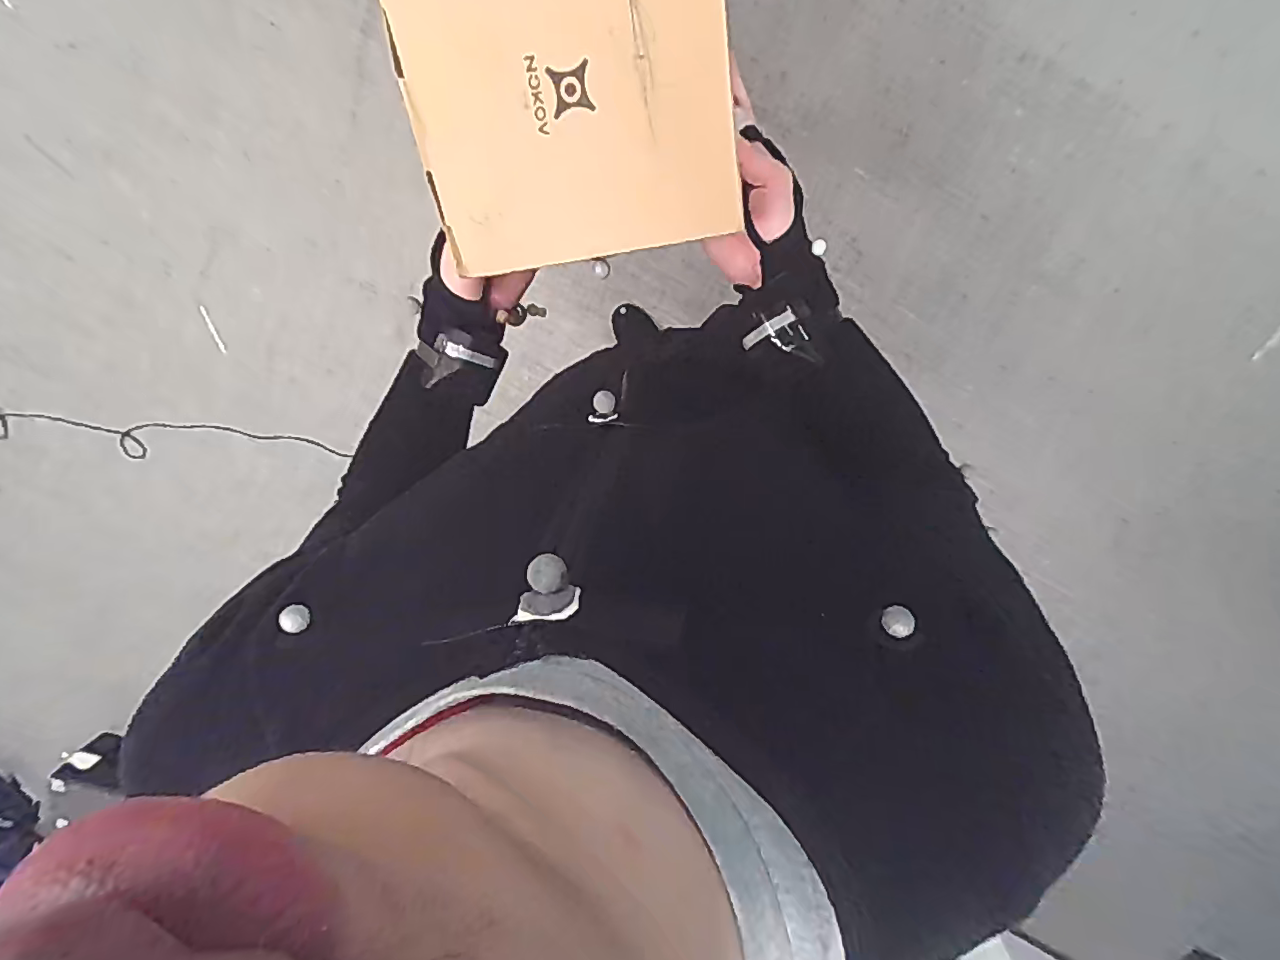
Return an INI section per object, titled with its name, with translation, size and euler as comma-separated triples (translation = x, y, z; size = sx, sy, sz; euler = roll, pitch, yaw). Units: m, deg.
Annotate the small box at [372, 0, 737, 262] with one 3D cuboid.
[small box]
translation = -0.035, -0.244, 0.348
size = 0.179, 0.176, 0.168
euler = -6, 116, 9
